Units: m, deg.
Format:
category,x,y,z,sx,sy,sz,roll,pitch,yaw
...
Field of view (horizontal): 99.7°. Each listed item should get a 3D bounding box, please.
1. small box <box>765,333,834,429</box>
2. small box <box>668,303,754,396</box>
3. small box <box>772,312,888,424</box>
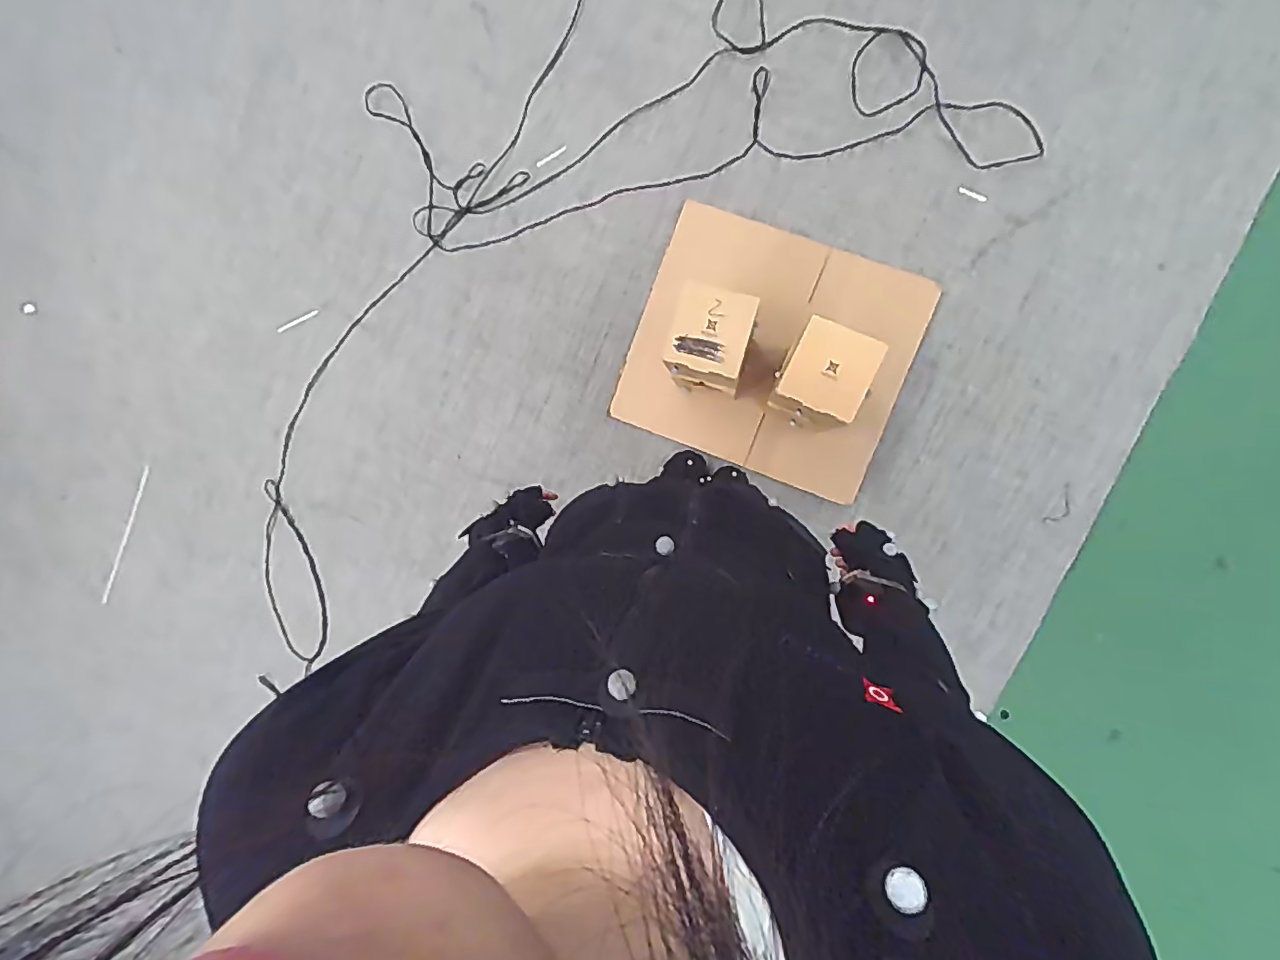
category,x,y,z,sx,sy,sz,roll,pitch,yaw
small box,0.415,-0.236,1.327,0.168,0.176,0.179,22,96,8
small box,0.179,-0.318,1.352,0.168,0.176,0.179,17,95,7
small box,0.396,-0.232,1.165,0.168,0.176,0.179,25,97,6
